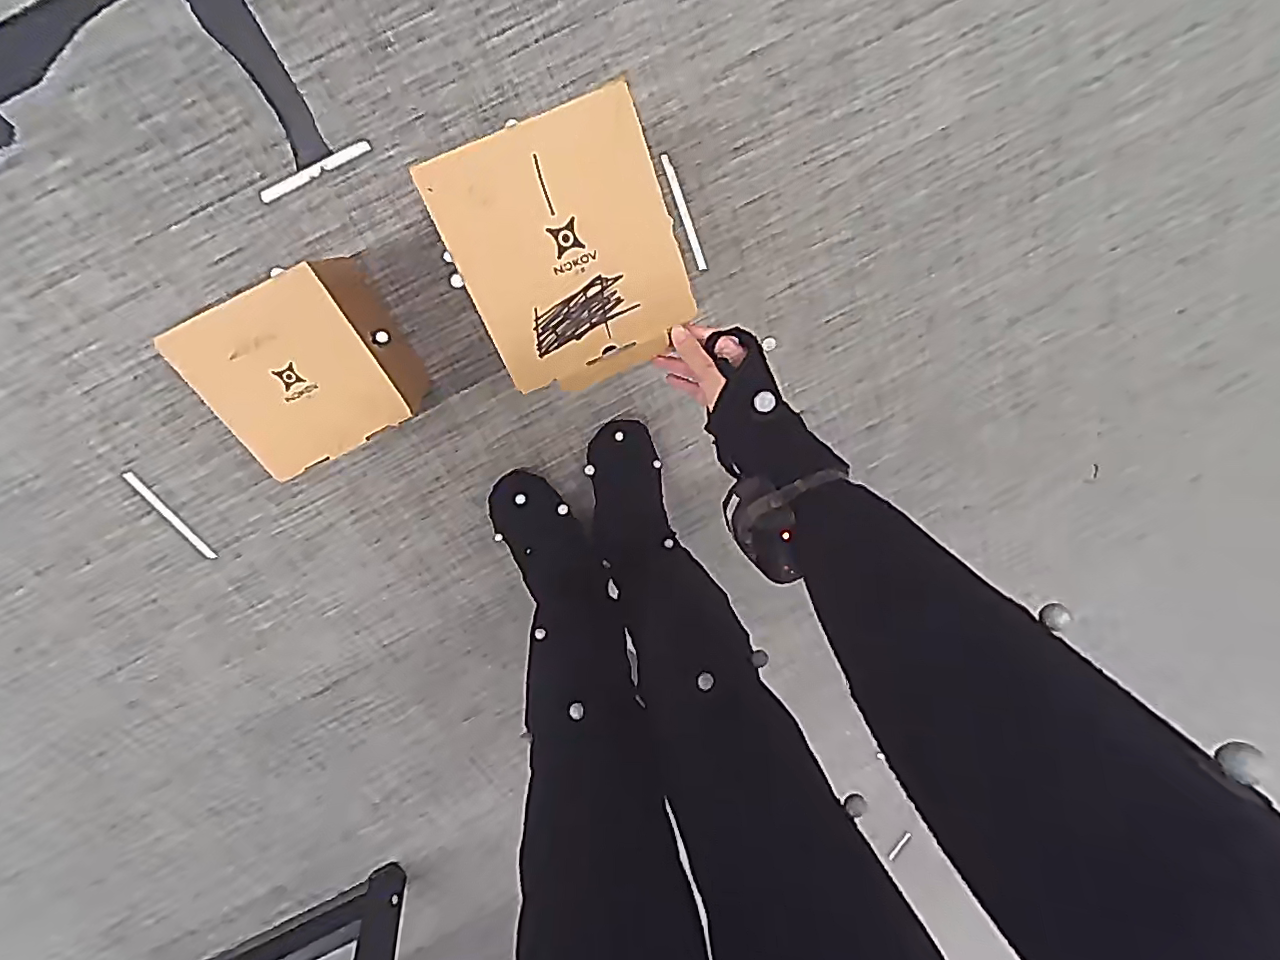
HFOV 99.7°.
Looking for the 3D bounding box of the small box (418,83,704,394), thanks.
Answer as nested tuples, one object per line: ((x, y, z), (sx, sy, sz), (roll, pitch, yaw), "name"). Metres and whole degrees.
((-0.066, -0.203, 0.476), (0.168, 0.176, 0.179), (-25, 117, -3), "small box")

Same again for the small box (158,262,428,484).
((-0.365, -0.131, 0.617), (0.168, 0.176, 0.179), (-29, 117, -2), "small box")
